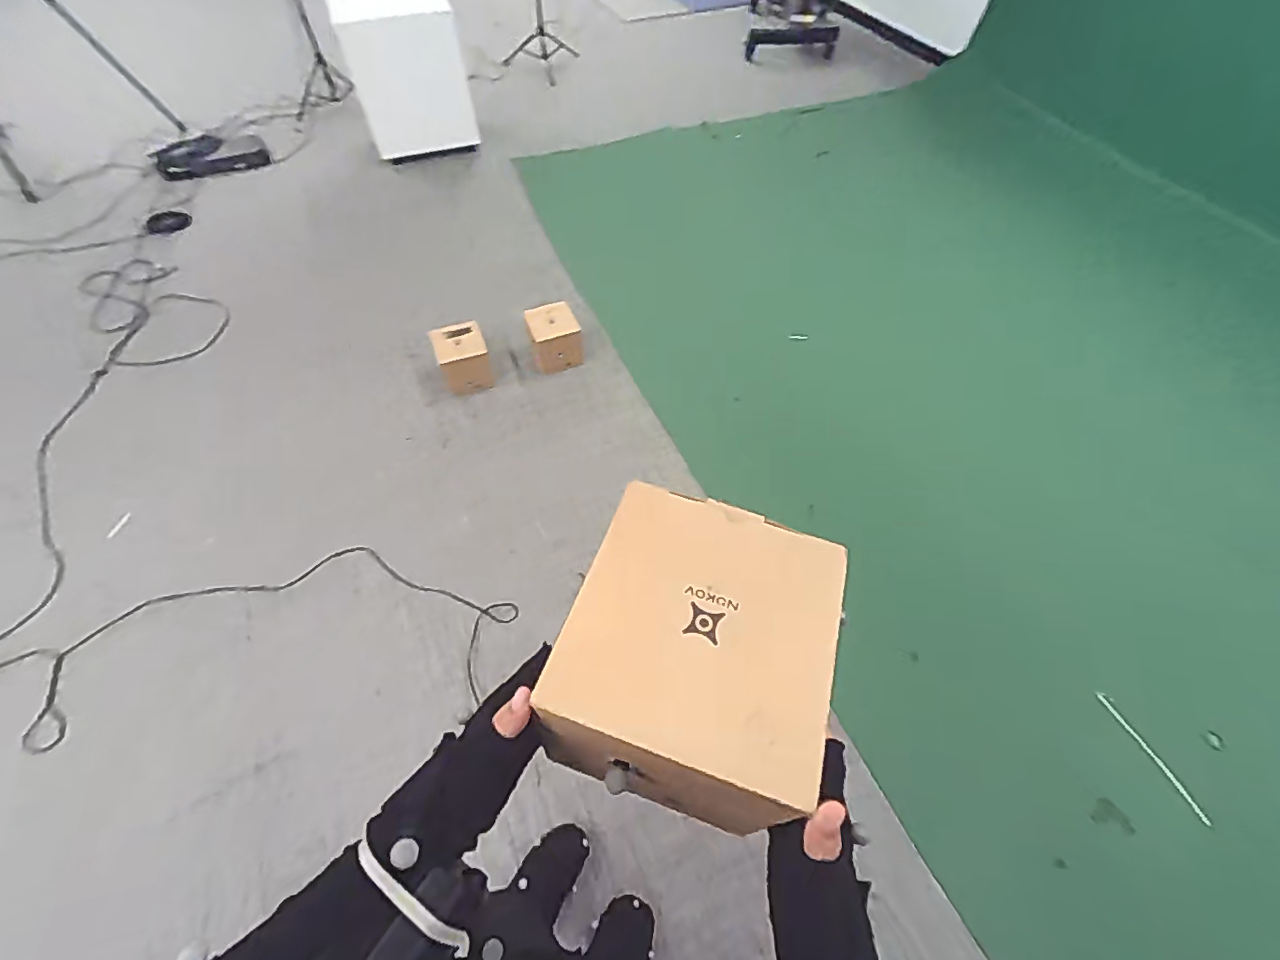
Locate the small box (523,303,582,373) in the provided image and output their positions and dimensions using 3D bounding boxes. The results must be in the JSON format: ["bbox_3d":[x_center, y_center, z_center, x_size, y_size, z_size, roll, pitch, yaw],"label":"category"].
[{"bbox_3d":[-0.320,-0.517,1.996,0.168,0.176,0.179,-19,59,-15],"label":"small box"}]
